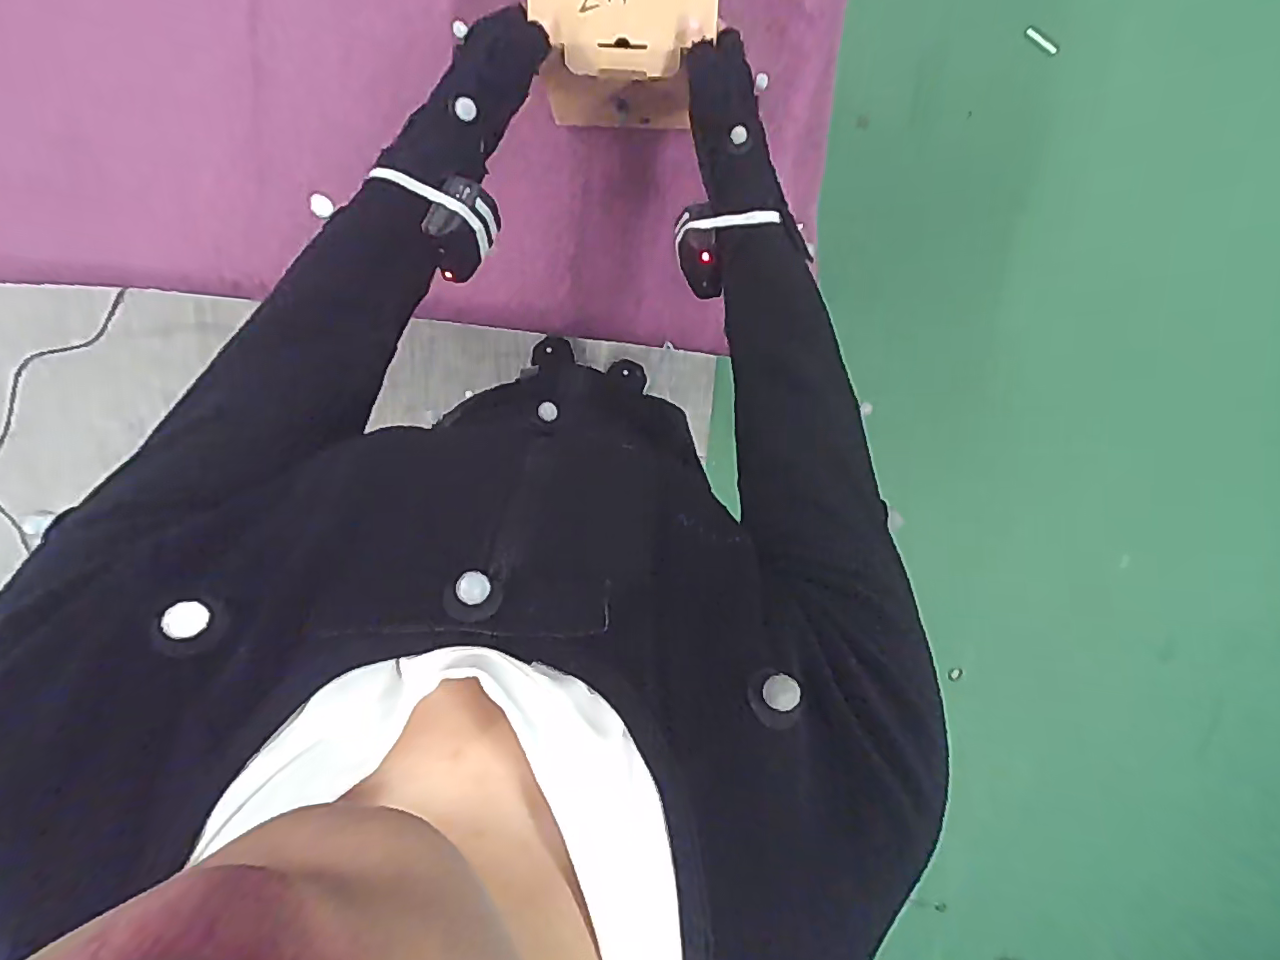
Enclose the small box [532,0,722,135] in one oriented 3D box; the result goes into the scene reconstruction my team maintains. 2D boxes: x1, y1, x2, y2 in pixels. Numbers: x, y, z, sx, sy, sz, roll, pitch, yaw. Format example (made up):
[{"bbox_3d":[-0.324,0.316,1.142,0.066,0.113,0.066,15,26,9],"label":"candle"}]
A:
[{"bbox_3d":[-0.011,-0.474,0.532,0.168,0.176,0.179,2,103,-1],"label":"small box"}]
